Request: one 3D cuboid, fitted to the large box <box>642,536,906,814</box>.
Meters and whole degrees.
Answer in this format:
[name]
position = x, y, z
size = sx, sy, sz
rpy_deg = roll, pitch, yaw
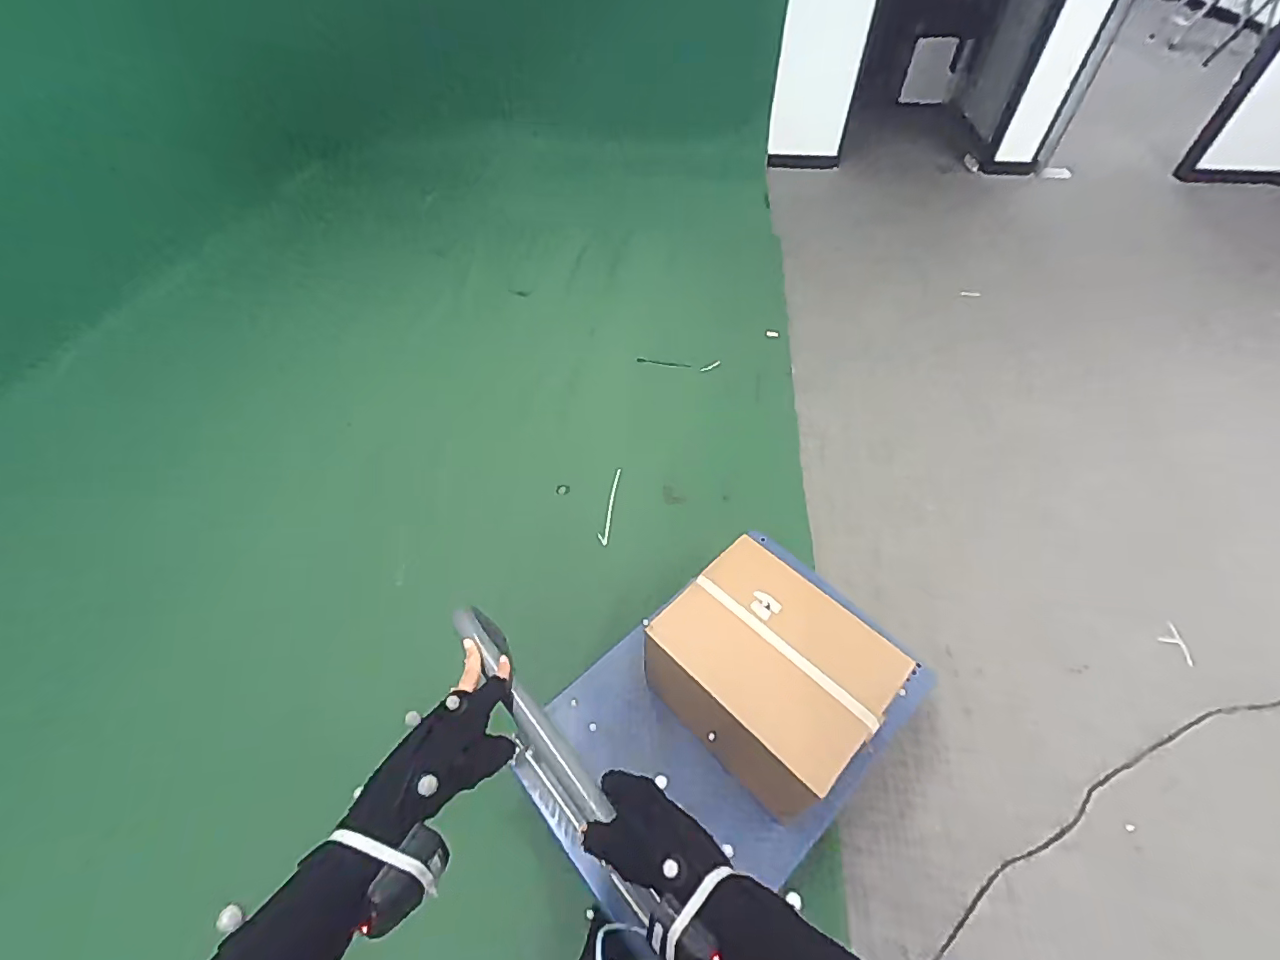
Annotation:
[large box]
position = 0.253, 0.403, 1.137
size = 0.320, 0.320, 0.408
rpy_deg = -37, 59, -27
